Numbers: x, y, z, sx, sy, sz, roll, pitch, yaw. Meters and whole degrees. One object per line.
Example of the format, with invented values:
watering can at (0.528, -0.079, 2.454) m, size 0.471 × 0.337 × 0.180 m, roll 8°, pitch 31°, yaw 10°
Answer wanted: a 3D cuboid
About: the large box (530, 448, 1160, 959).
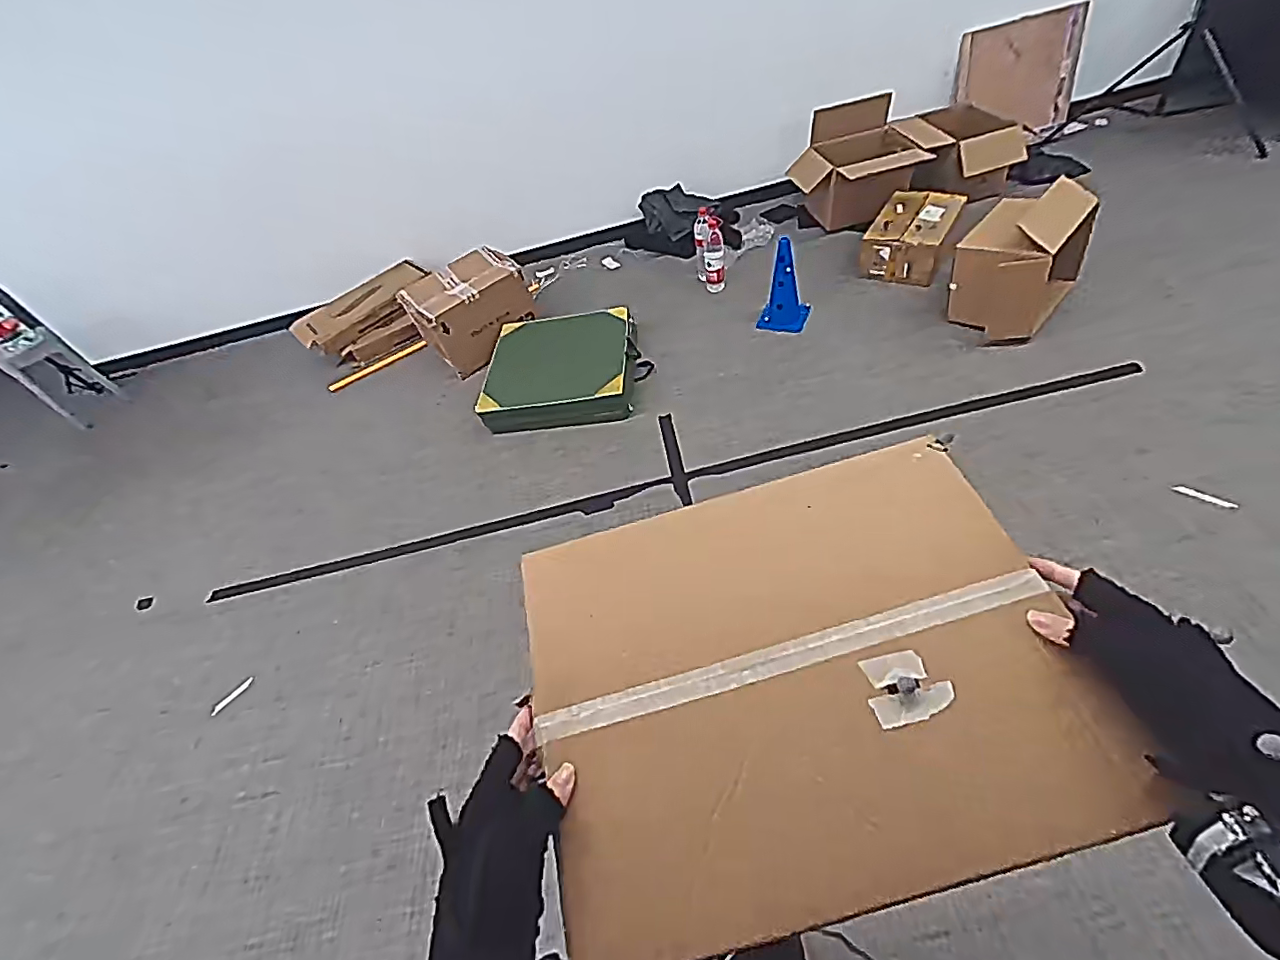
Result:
large box at (0.141, 0.228, 0.556) m, size 0.408 × 0.320 × 0.320 m, roll -17°, pitch 55°, yaw 0°
